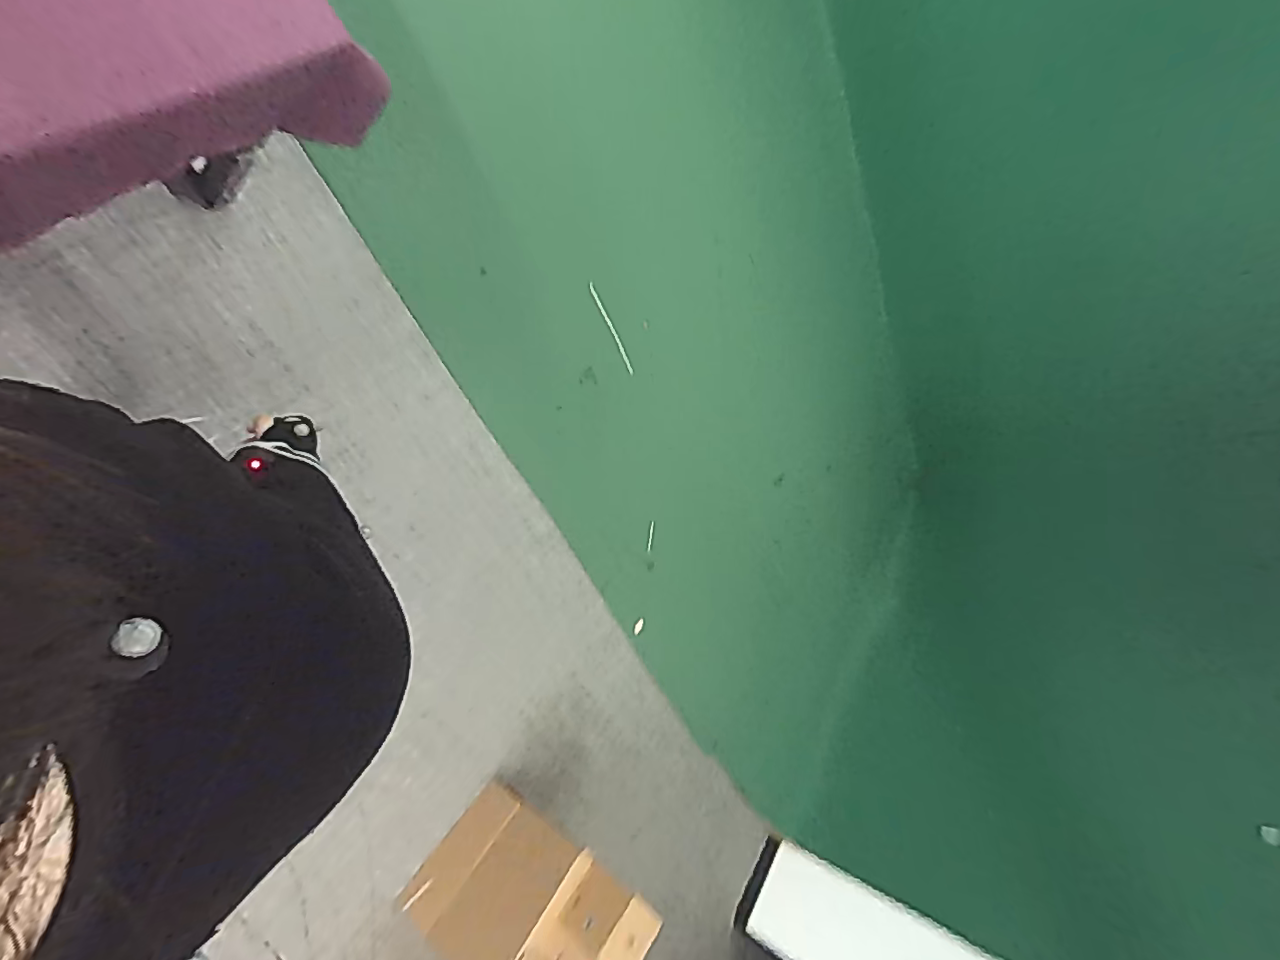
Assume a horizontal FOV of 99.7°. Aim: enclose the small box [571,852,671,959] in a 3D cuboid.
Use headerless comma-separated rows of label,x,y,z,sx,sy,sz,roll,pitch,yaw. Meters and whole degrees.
small box,-0.054,1.146,1.448,0.168,0.176,0.179,-46,122,-30
